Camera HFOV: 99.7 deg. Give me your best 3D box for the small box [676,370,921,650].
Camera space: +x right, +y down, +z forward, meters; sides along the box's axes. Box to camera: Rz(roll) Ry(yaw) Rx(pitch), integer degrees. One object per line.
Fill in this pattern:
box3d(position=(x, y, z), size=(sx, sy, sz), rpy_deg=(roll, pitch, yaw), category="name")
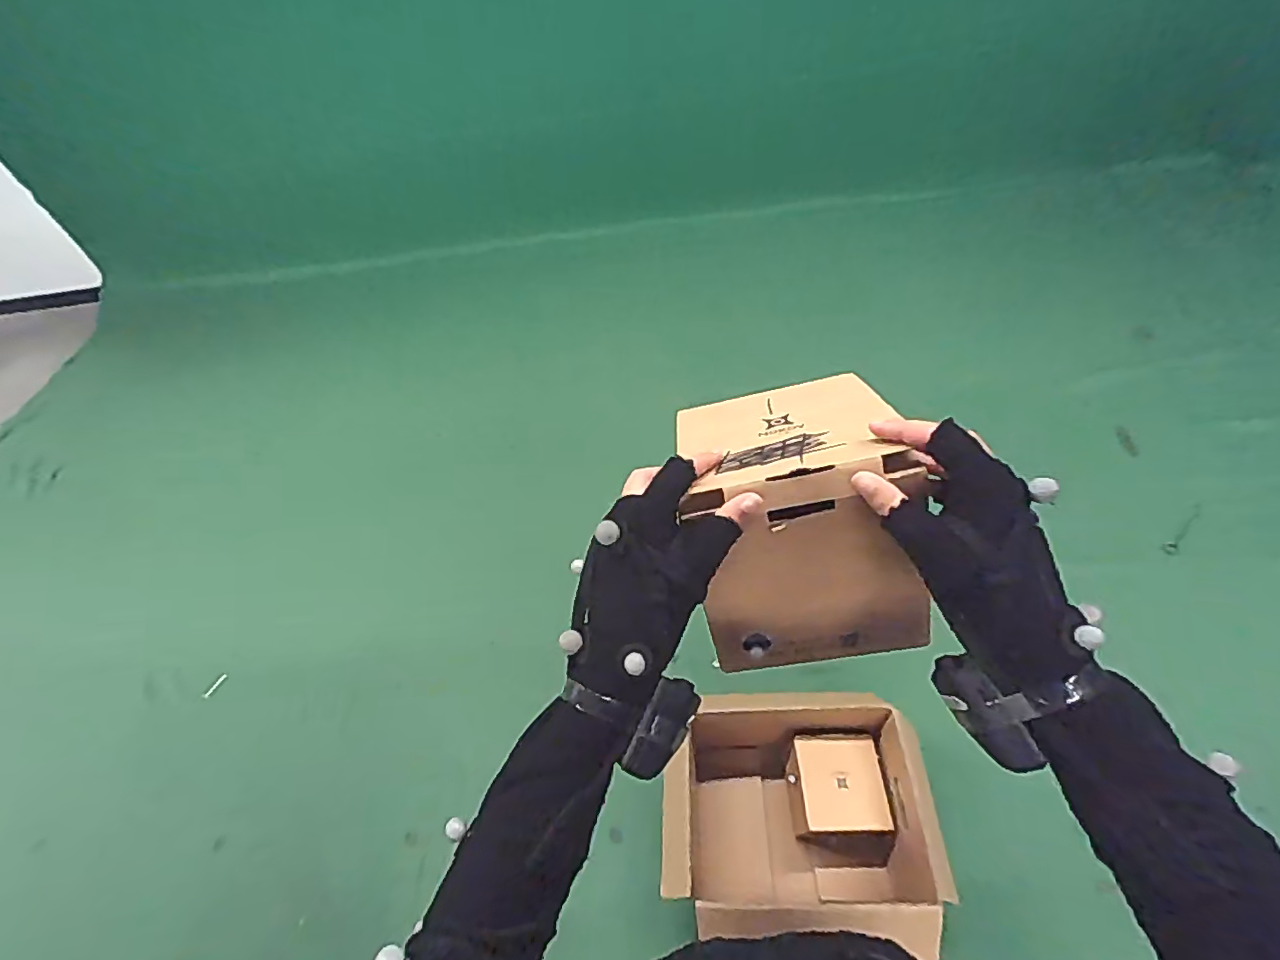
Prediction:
box3d(position=(0.130, 0.028, 0.469), size=(0.168, 0.176, 0.179), rpy_deg=(-11, 29, 10), category="small box")
